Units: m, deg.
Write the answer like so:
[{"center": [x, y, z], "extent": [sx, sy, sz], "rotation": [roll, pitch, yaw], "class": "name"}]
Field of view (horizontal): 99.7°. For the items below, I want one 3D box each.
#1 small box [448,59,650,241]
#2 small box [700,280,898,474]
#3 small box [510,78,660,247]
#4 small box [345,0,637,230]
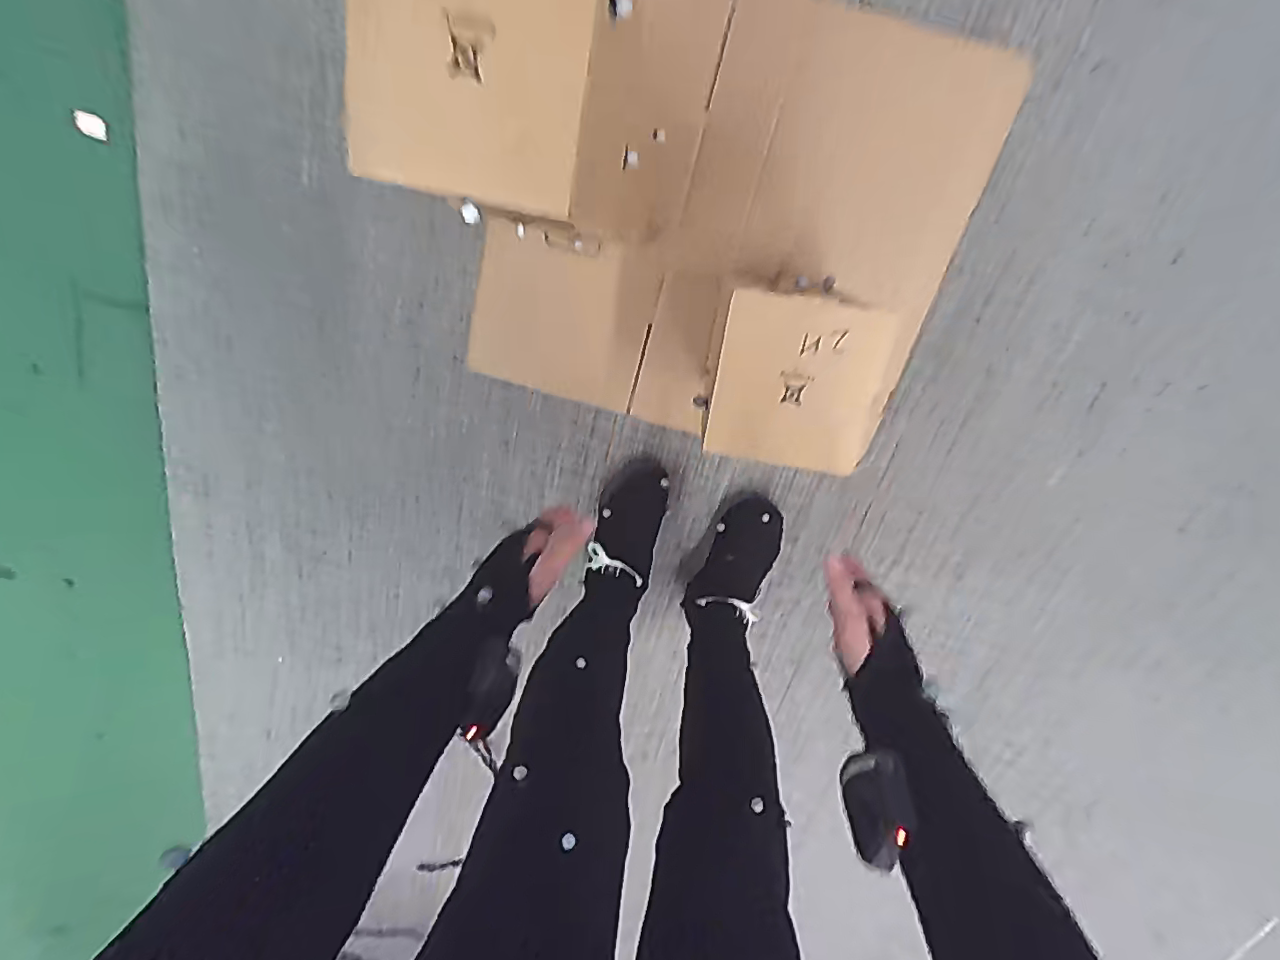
[{"center": [-0.088, -0.365, 0.578], "extent": [0.168, 0.176, 0.179], "rotation": [12, 111, 3], "class": "small box"}, {"center": [0.167, -0.128, 0.629], "extent": [0.168, 0.176, 0.179], "rotation": [9, 112, 3], "class": "small box"}, {"center": [-0.068, -0.422, 0.730], "extent": [0.168, 0.176, 0.179], "rotation": [9, 112, 4], "class": "small box"}, {"center": [-0.103, -0.308, 0.427], "extent": [0.168, 0.176, 0.179], "rotation": [13, 111, 3], "class": "small box"}]
